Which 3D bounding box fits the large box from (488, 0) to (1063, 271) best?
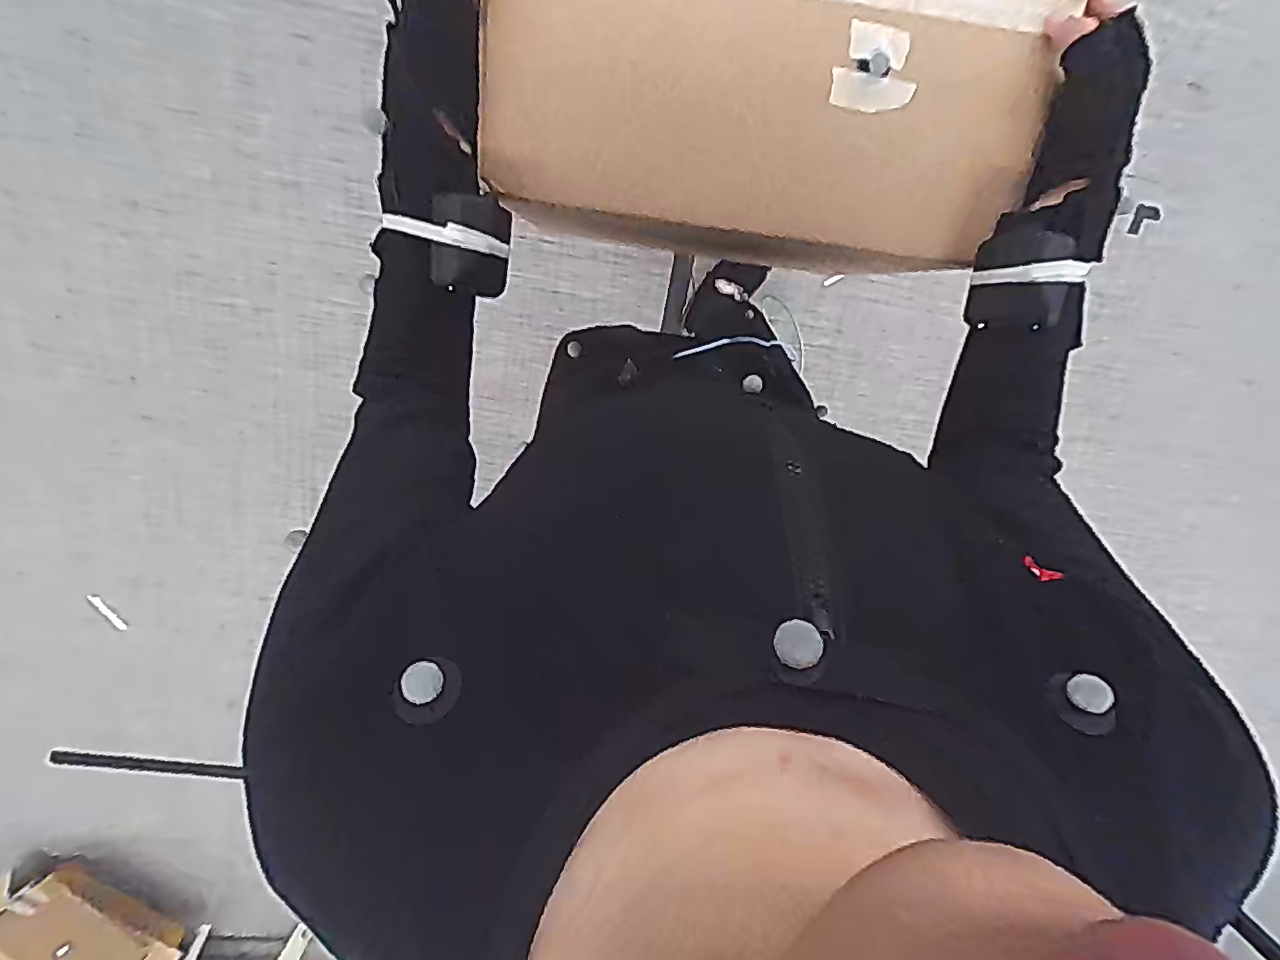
[{"bbox_3d":[0.089,-0.387,0.511,0.408,0.320,0.320,6,110,-5],"label":"large box"}]
